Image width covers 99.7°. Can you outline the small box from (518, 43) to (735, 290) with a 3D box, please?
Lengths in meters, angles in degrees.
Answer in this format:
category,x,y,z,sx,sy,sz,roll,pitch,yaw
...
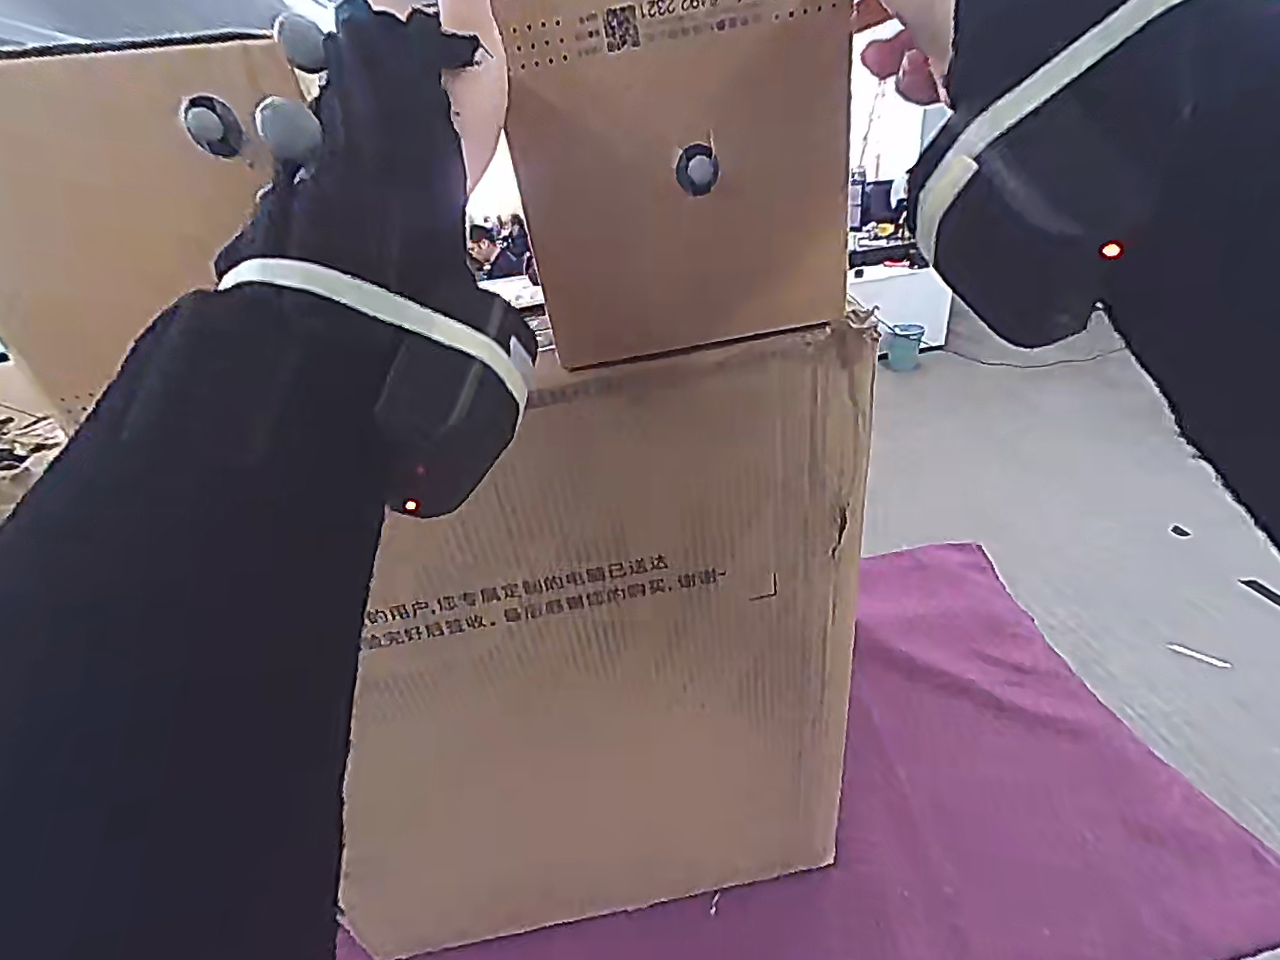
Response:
category,x,y,z,sx,sy,sz,roll,pitch,yaw
small box,-0.009,-0.291,0.526,0.168,0.176,0.179,-10,30,0
